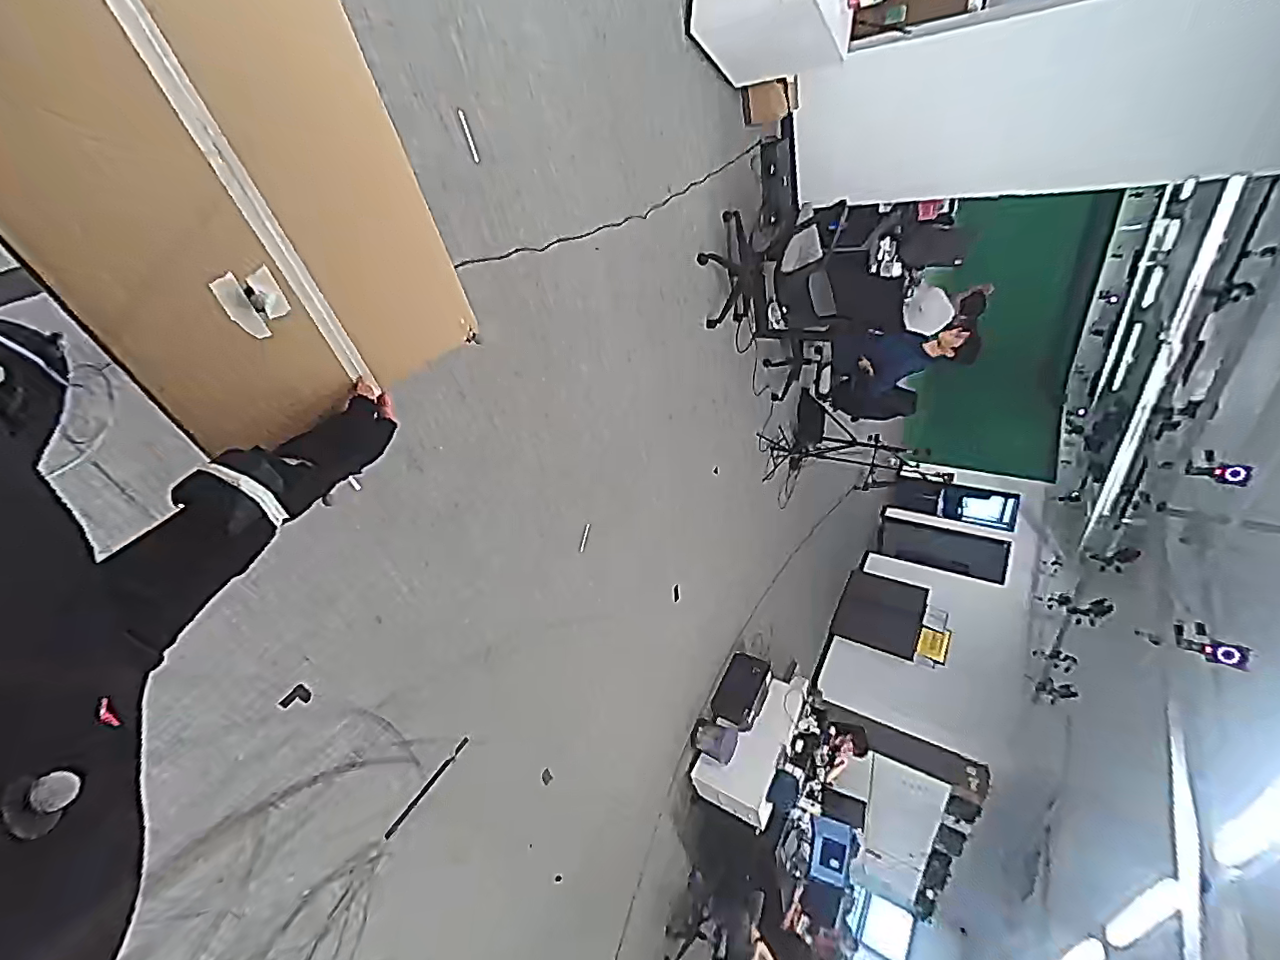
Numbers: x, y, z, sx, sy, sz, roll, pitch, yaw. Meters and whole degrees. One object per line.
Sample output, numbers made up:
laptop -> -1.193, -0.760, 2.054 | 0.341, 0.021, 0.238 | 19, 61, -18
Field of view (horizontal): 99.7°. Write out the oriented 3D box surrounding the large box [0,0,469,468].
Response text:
large box -> -0.461, -0.292, 0.565 | 0.320, 0.320, 0.408 | -43, 139, -28
